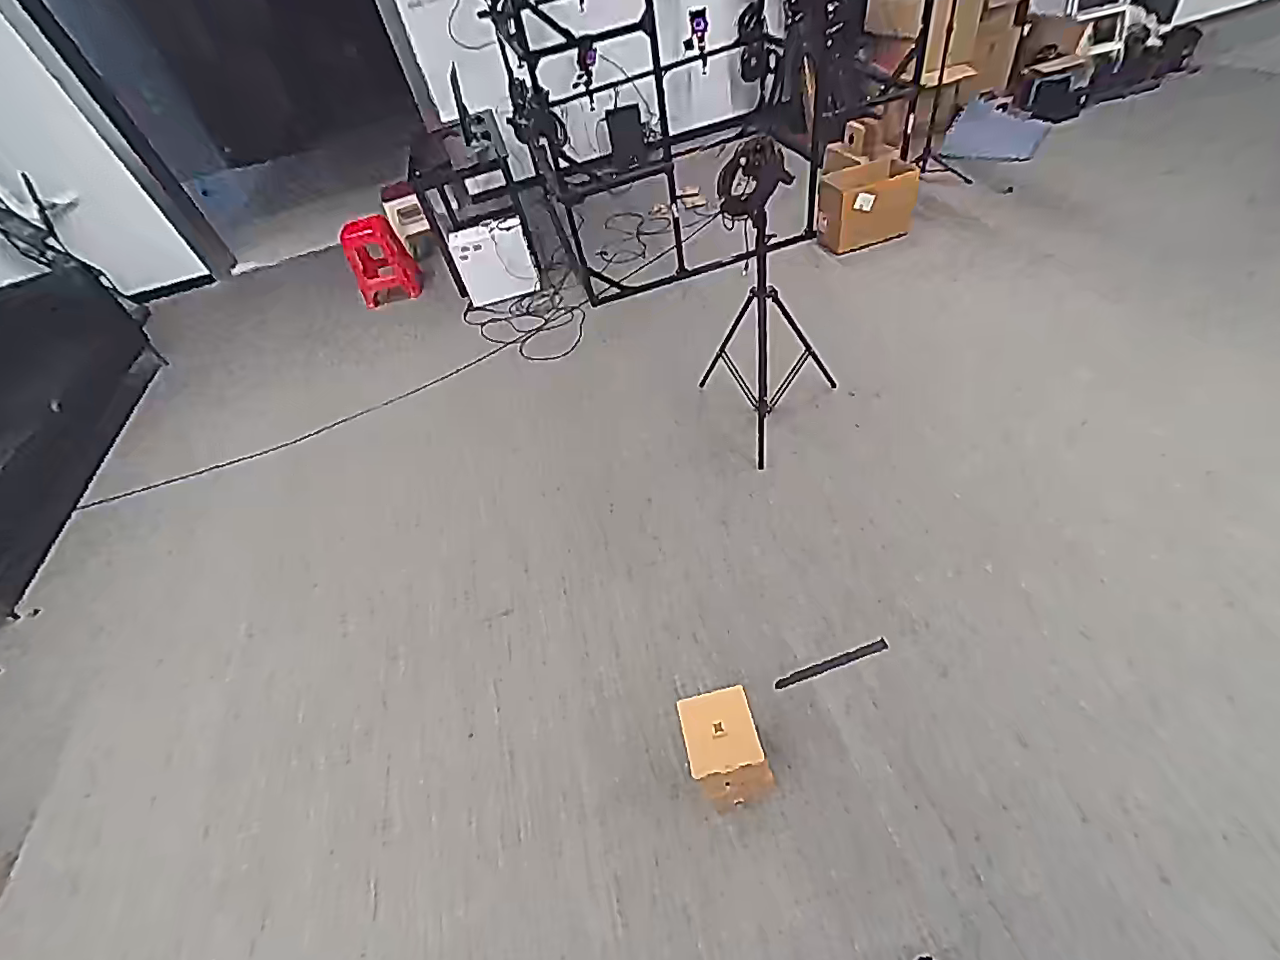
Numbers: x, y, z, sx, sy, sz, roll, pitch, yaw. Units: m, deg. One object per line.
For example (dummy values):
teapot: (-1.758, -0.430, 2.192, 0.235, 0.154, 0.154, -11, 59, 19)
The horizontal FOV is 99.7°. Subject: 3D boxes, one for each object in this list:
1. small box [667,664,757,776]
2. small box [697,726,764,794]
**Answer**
small box: (0.168, 0.564, 1.266, 0.168, 0.176, 0.179, -15, 48, 1)
small box: (0.208, 0.670, 1.383, 0.168, 0.176, 0.179, -17, 47, -1)
